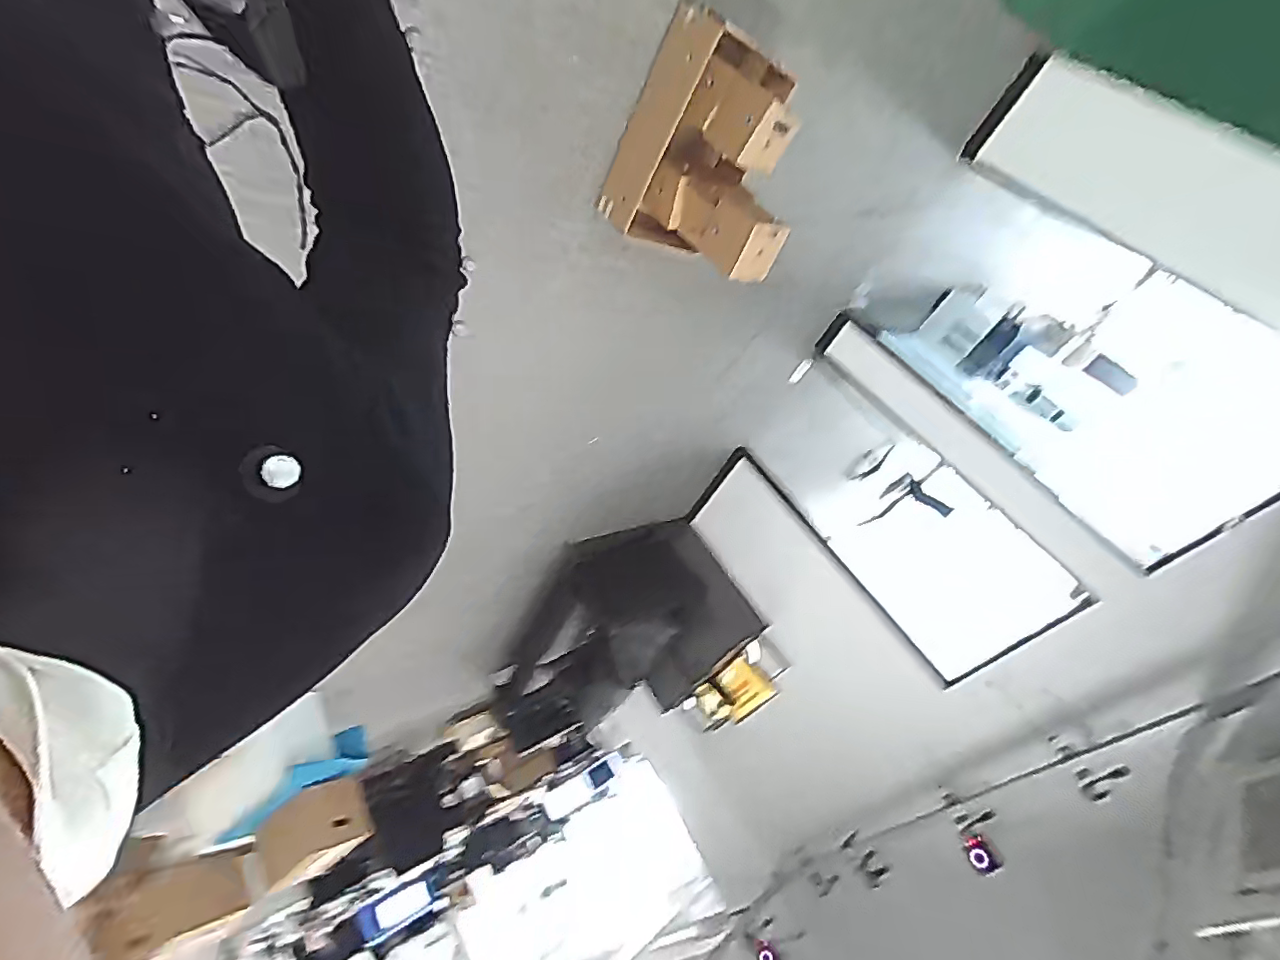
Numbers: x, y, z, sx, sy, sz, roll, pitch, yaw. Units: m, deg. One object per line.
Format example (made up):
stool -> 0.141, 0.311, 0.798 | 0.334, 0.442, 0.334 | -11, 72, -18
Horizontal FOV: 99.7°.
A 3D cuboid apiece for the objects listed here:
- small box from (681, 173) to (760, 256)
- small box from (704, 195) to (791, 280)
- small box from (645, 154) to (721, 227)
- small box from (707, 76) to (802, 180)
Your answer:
small box -> 0.254, -0.864, 1.757 | 0.179, 0.176, 0.168 | -26, 152, -20
small box -> 0.321, -0.744, 1.665 | 0.168, 0.176, 0.179 | -15, 147, -37
small box -> 0.141, -0.972, 1.813 | 0.179, 0.176, 0.168 | -21, 149, -30
small box -> 0.328, -1.026, 1.577 | 0.168, 0.176, 0.179 | -7, 143, -47
